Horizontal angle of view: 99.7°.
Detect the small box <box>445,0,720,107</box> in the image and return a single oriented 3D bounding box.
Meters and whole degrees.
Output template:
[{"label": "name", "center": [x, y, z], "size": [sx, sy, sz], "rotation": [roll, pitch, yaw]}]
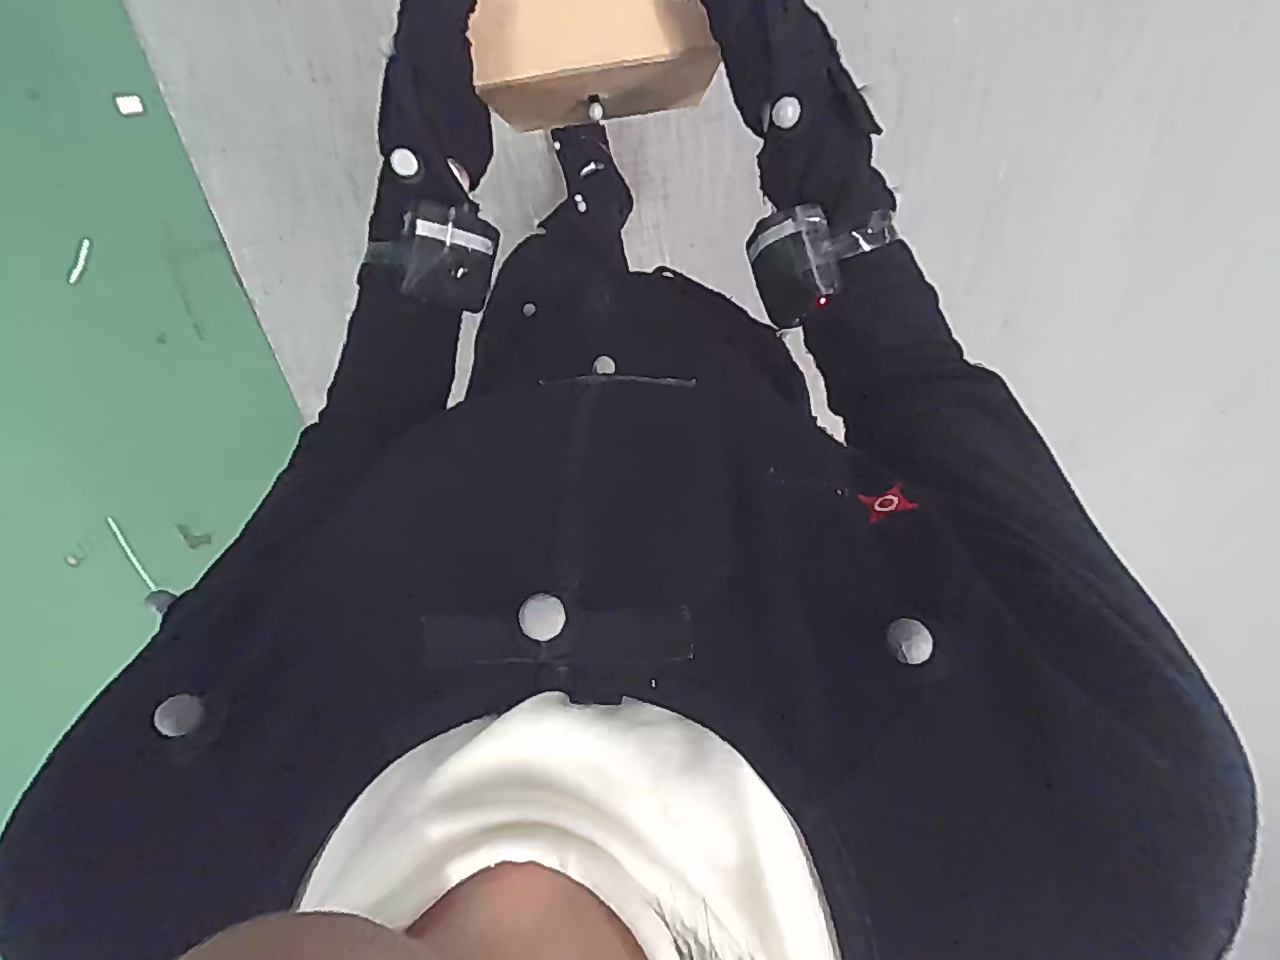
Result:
[{"label": "small box", "center": [-0.042, -0.390, 0.391], "size": [0.179, 0.176, 0.168], "rotation": [-4, 113, 2]}]
